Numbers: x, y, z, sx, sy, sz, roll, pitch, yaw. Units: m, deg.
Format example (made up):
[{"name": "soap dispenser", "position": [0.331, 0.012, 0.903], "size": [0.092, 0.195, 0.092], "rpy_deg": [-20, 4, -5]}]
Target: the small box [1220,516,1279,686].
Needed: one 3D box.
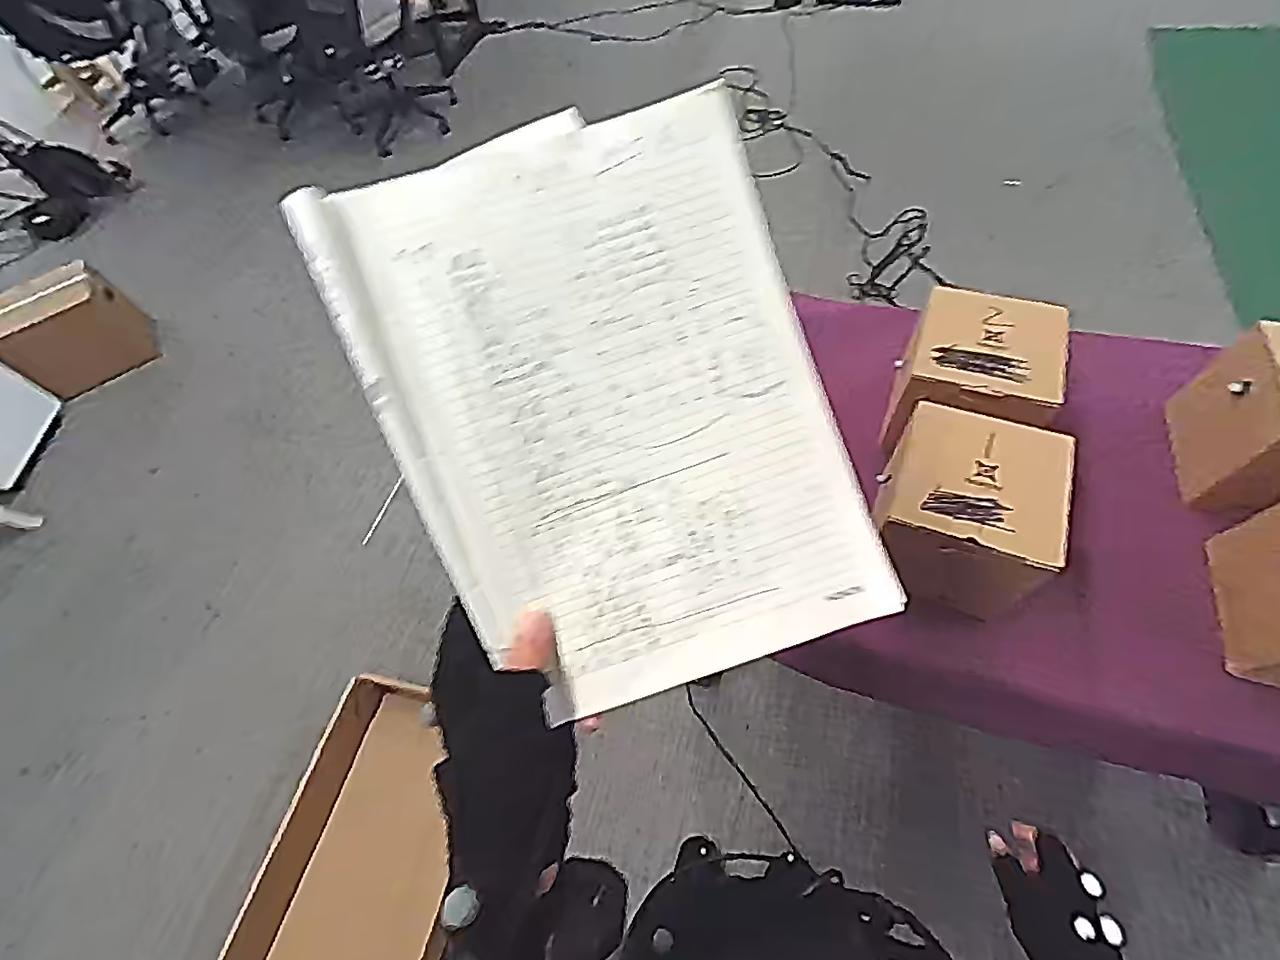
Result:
[{"name": "small box", "position": [0.761, 0.133, 0.552], "size": [0.168, 0.176, 0.179], "rpy_deg": [15, 63, 17]}]

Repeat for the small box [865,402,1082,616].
[{"name": "small box", "position": [0.388, 0.041, 0.656], "size": [0.168, 0.176, 0.179], "rpy_deg": [20, 63, 18]}]

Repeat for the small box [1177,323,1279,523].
[{"name": "small box", "position": [0.813, -0.058, 0.658], "size": [0.168, 0.176, 0.179], "rpy_deg": [13, 63, 15]}]
